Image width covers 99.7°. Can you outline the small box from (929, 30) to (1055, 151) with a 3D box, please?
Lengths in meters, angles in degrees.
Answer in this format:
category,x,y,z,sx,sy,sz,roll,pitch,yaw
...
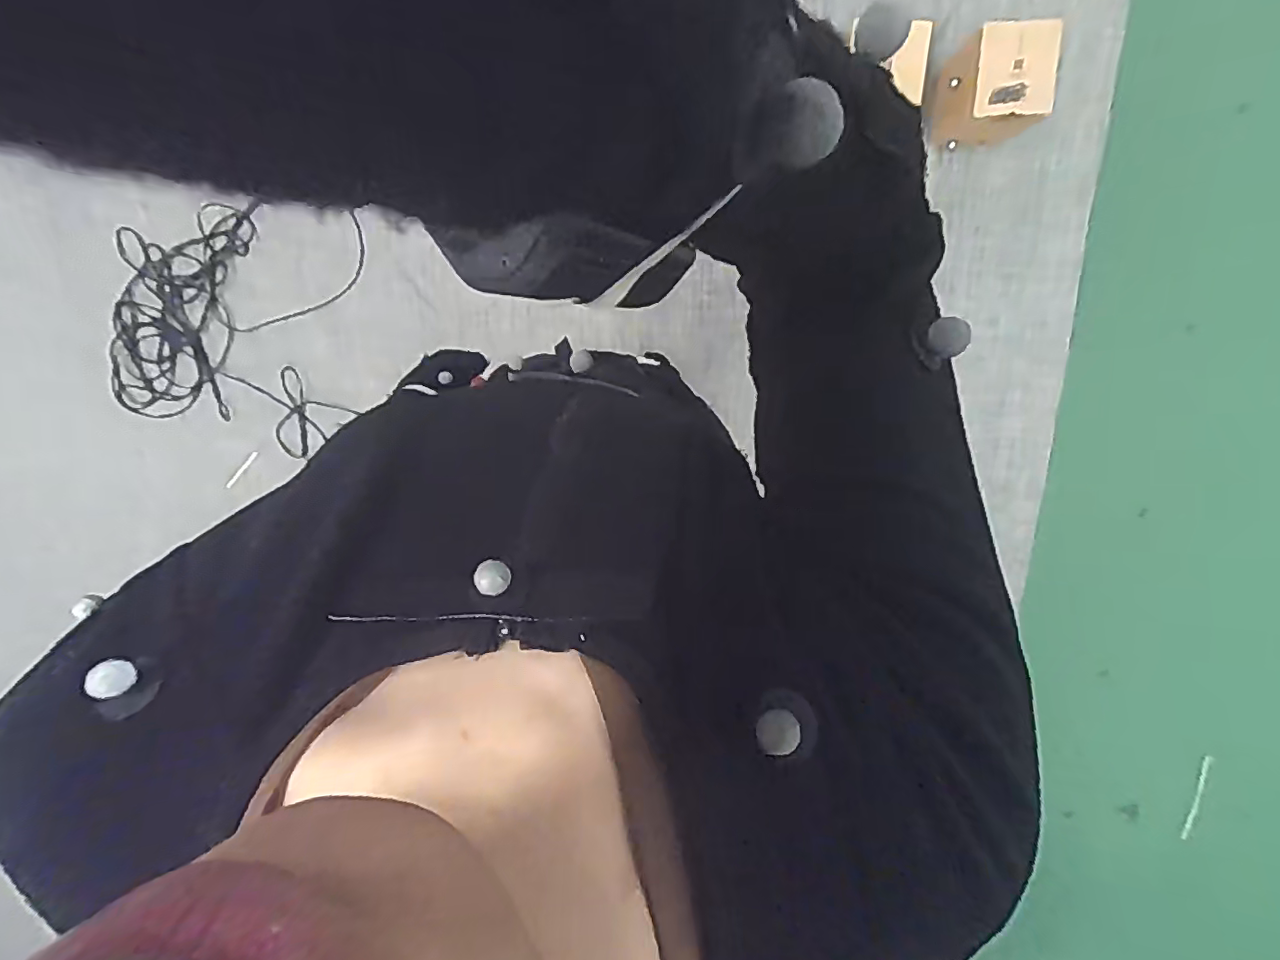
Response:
category,x,y,z,sx,sy,sz,roll,pitch,yaw
small box,0.772,-0.856,1.207,0.168,0.176,0.179,-1,102,0

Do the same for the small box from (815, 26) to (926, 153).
category,x,y,z,sx,sy,sz,roll,pitch,yaw
small box,0.503,-0.862,1.207,0.168,0.176,0.179,2,103,-1
